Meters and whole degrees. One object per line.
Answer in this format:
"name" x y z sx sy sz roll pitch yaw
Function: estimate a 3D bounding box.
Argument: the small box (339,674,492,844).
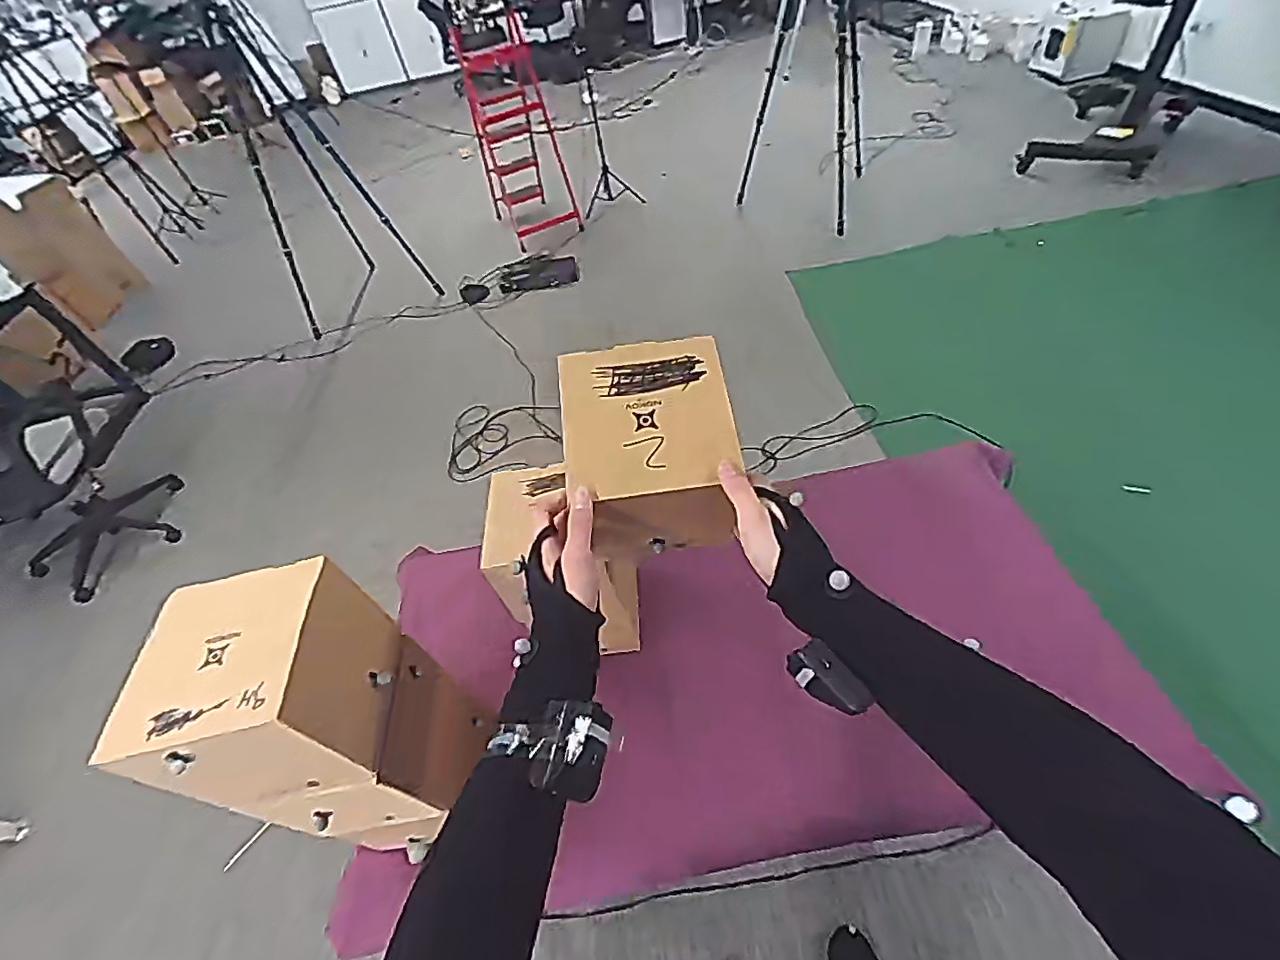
"small box" -0.331 0.419 0.809 0.168 0.176 0.179 -12 48 2

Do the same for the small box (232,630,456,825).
"small box" -0.351 0.319 0.684 0.168 0.176 0.179 -12 47 3

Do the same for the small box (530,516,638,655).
"small box" -0.098 0.189 0.959 0.168 0.176 0.179 -8 50 5

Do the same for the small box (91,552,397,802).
"small box" -0.380 0.207 0.566 0.168 0.176 0.179 -14 46 2

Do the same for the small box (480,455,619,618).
"small box" -0.129 0.089 0.832 0.168 0.176 0.179 -9 50 4
